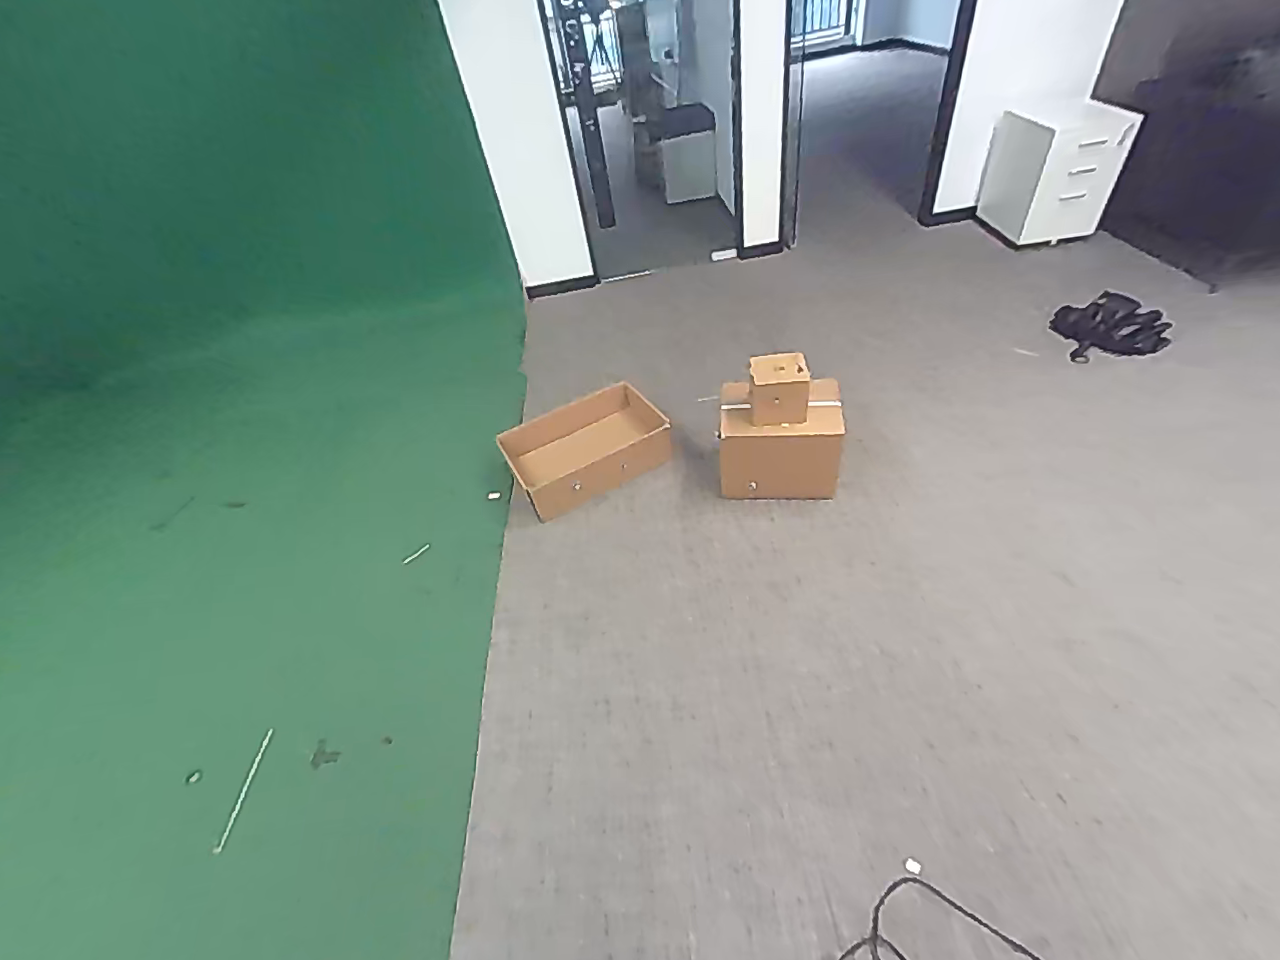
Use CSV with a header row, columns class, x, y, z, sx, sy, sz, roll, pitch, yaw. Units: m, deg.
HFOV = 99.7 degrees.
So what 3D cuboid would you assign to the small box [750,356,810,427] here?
class,x,y,z,sx,sy,sz,roll,pitch,yaw
small box,0.466,-0.291,1.808,0.179,0.176,0.168,-5,44,8
